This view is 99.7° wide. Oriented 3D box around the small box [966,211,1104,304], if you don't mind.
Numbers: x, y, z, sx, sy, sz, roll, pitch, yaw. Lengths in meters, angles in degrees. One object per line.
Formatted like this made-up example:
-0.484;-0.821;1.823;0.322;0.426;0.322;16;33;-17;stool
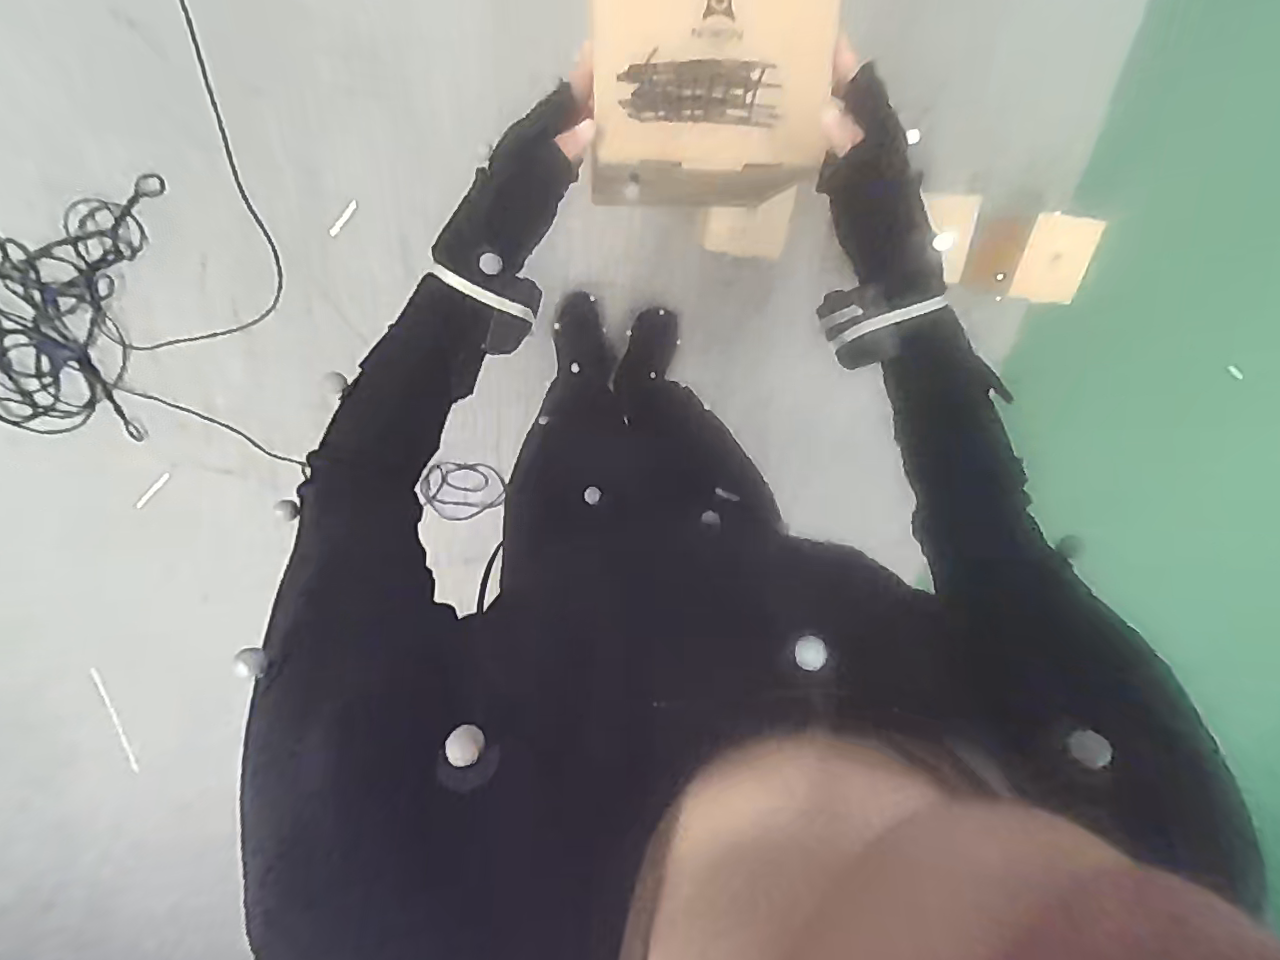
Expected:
0.903;-0.518;1.259;0.168;0.176;0.179;4;114;-7;small box

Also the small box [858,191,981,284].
0.615;-0.543;1.217;0.168;0.176;0.179;0;114;-6;small box

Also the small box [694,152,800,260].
0.218;-0.579;1.158;0.168;0.176;0.179;6;115;-7;small box
